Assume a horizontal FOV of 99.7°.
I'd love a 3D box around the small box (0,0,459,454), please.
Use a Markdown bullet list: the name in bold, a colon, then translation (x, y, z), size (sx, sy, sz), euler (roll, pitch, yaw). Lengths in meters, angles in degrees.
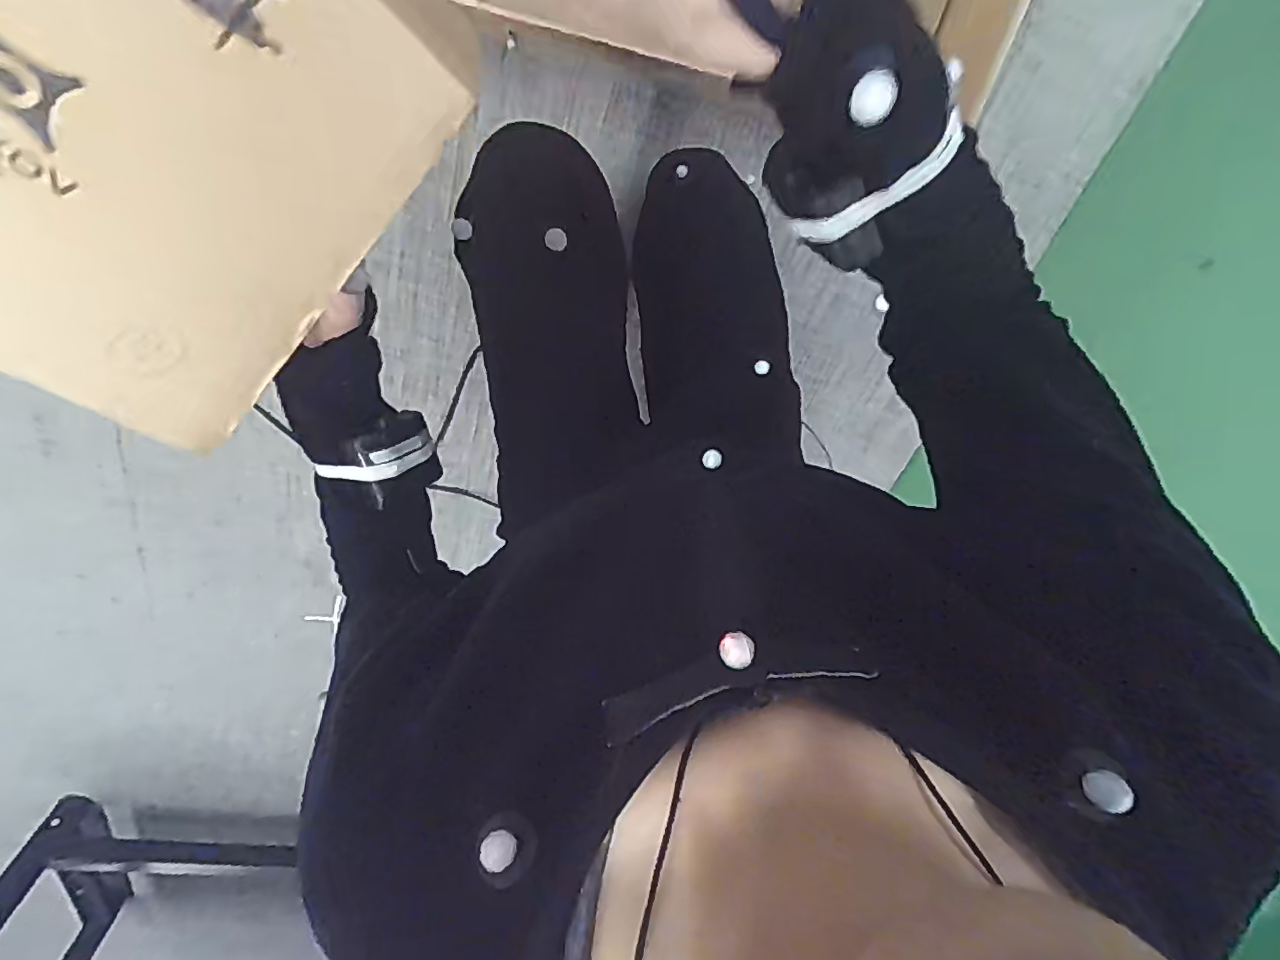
- **small box**: translation (-0.179, -0.149, 0.188), size (0.179, 0.176, 0.168), euler (-40, 132, 20)
